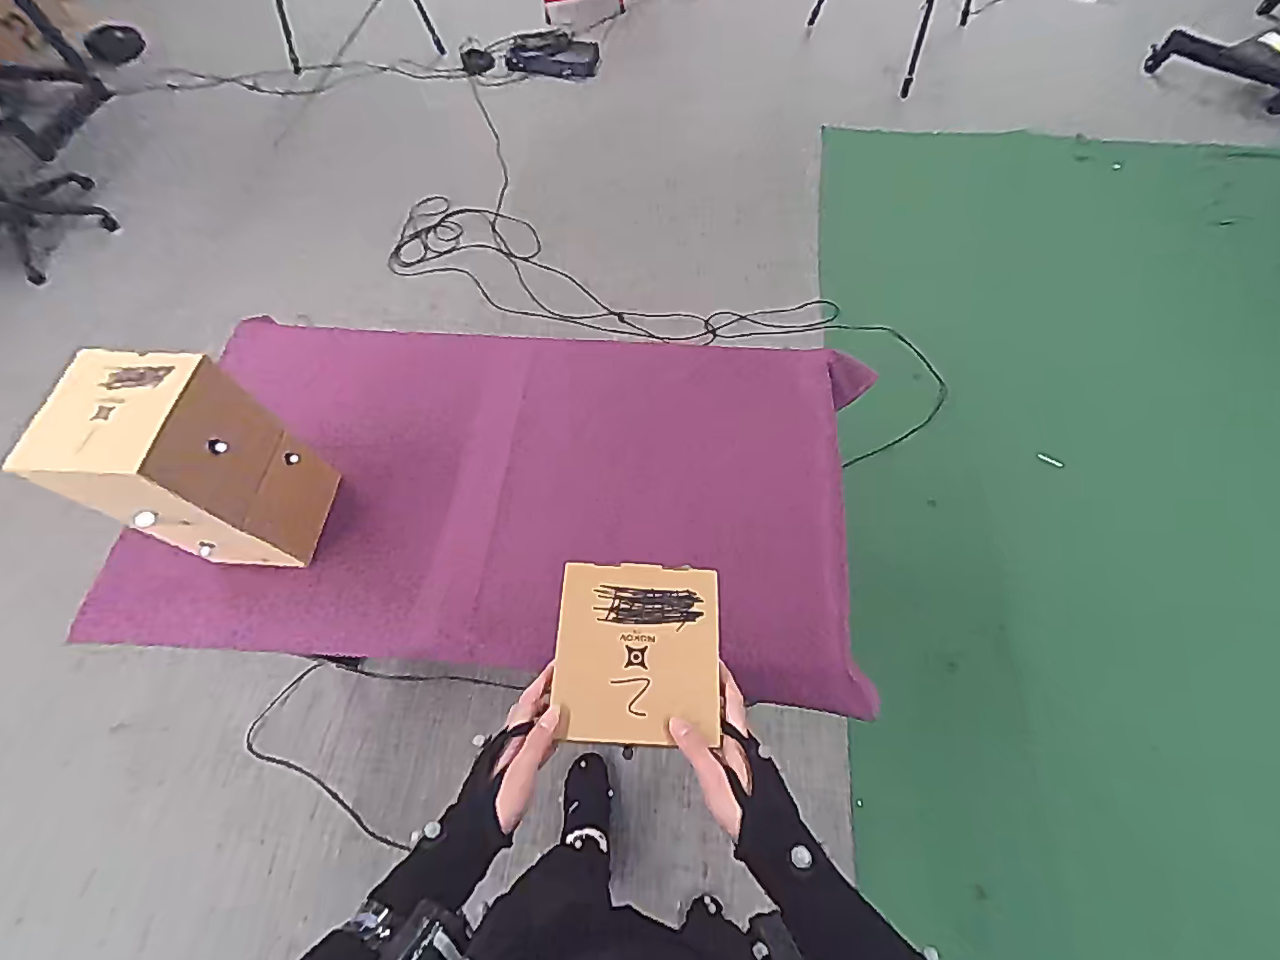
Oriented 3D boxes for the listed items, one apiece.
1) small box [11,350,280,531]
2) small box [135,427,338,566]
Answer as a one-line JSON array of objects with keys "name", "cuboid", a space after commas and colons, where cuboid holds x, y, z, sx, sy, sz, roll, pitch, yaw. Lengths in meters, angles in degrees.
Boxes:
[{"name": "small box", "cuboid": [-0.624, -0.048, 0.716, 0.168, 0.176, 0.179, 3, 63, 4]}, {"name": "small box", "cuboid": [-0.619, 0.030, 0.861, 0.168, 0.176, 0.179, 3, 62, 4]}]
